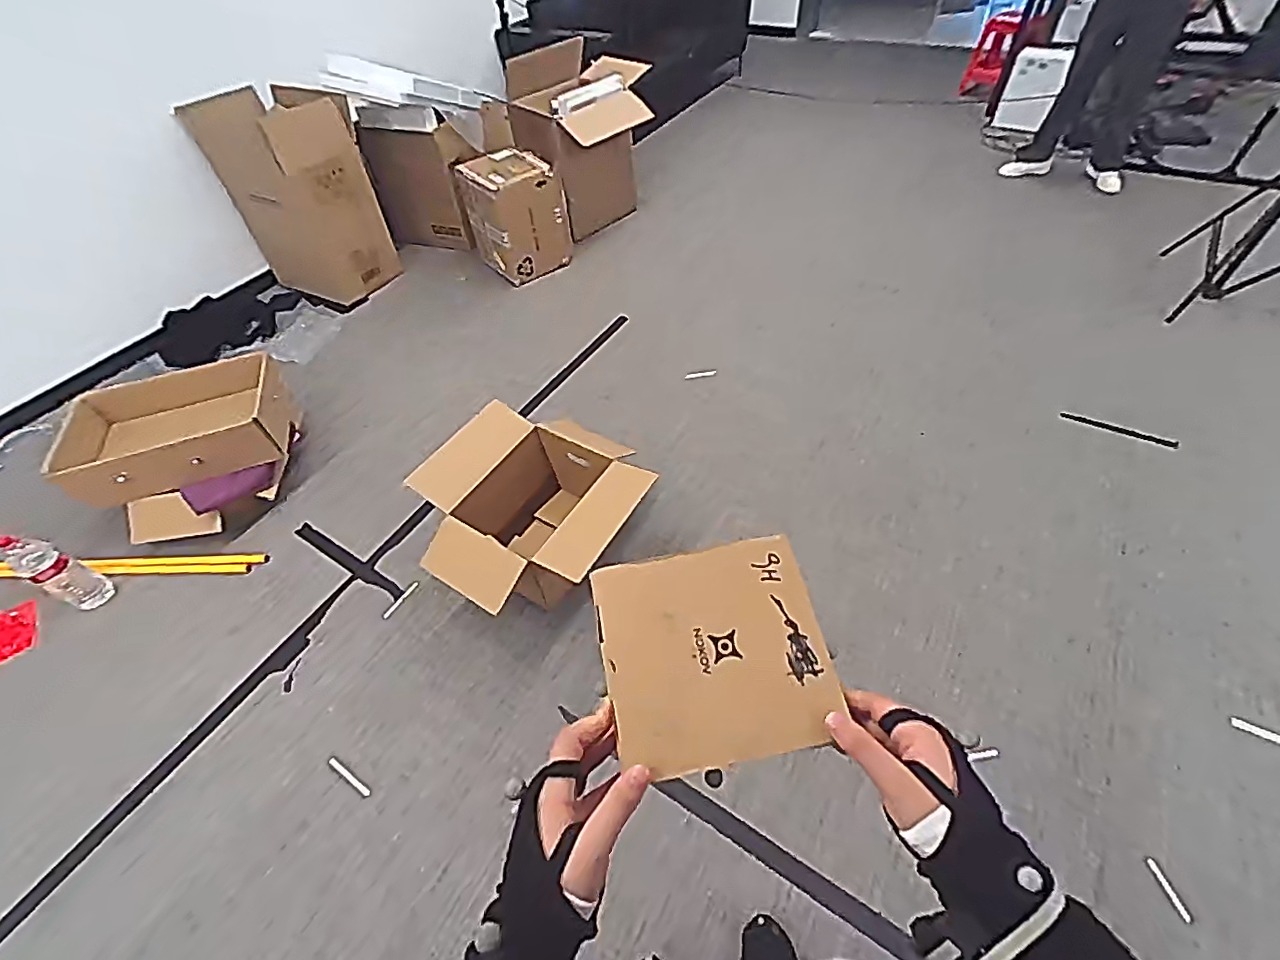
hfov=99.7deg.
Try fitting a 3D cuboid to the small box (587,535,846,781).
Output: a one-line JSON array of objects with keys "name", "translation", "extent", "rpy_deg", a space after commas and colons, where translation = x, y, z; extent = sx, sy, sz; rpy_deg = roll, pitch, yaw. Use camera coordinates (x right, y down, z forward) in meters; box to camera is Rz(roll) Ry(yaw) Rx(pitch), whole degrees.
[{"name": "small box", "translation": [0.057, 0.171, 0.498], "extent": [0.179, 0.176, 0.168], "rpy_deg": [-11, 62, -4]}]
